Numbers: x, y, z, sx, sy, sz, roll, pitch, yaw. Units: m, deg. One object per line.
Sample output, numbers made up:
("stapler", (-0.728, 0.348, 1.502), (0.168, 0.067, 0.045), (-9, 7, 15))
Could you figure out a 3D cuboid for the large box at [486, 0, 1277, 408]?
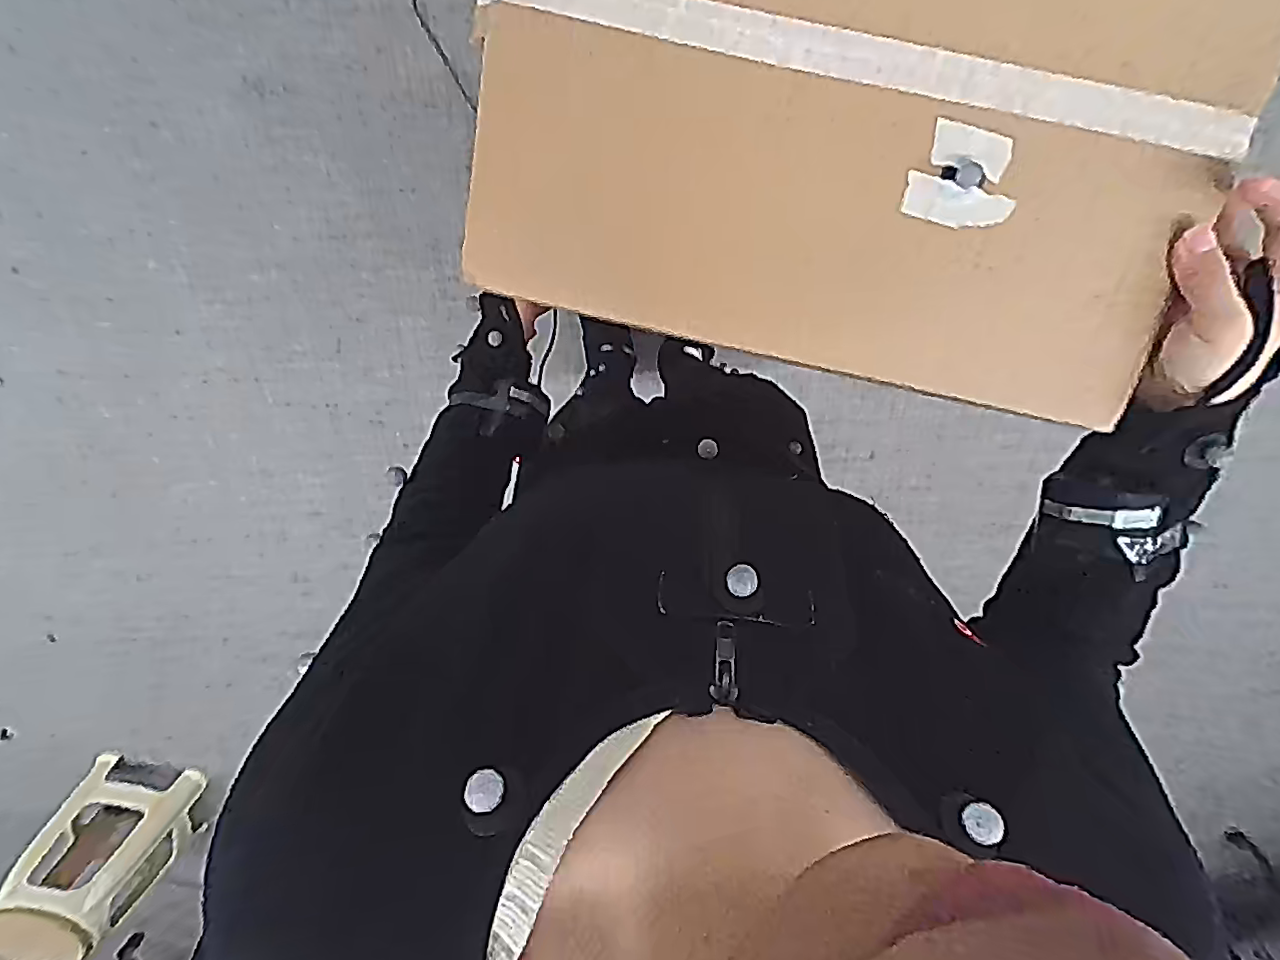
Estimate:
("large box", (0.132, -0.266, 0.447), (0.408, 0.320, 0.320), (14, 106, 0))
